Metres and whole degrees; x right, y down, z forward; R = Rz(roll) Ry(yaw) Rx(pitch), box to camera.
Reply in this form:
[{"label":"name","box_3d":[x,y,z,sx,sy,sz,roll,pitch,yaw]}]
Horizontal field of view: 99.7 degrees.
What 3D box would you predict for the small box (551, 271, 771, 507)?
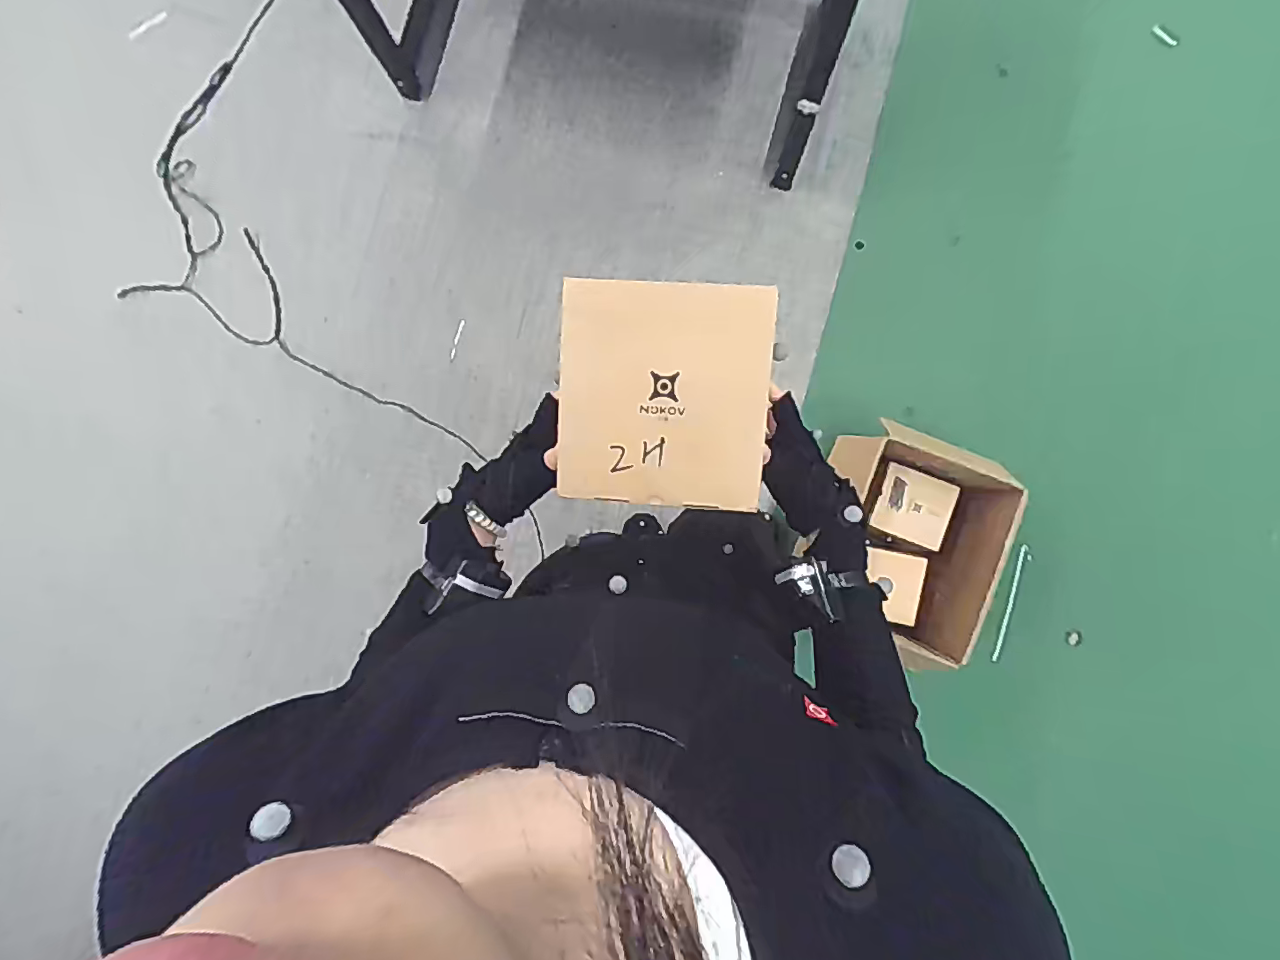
[{"label":"small box","box_3d":[0.020,-0.081,0.500,0.168,0.176,0.179,4,99,5]}]
